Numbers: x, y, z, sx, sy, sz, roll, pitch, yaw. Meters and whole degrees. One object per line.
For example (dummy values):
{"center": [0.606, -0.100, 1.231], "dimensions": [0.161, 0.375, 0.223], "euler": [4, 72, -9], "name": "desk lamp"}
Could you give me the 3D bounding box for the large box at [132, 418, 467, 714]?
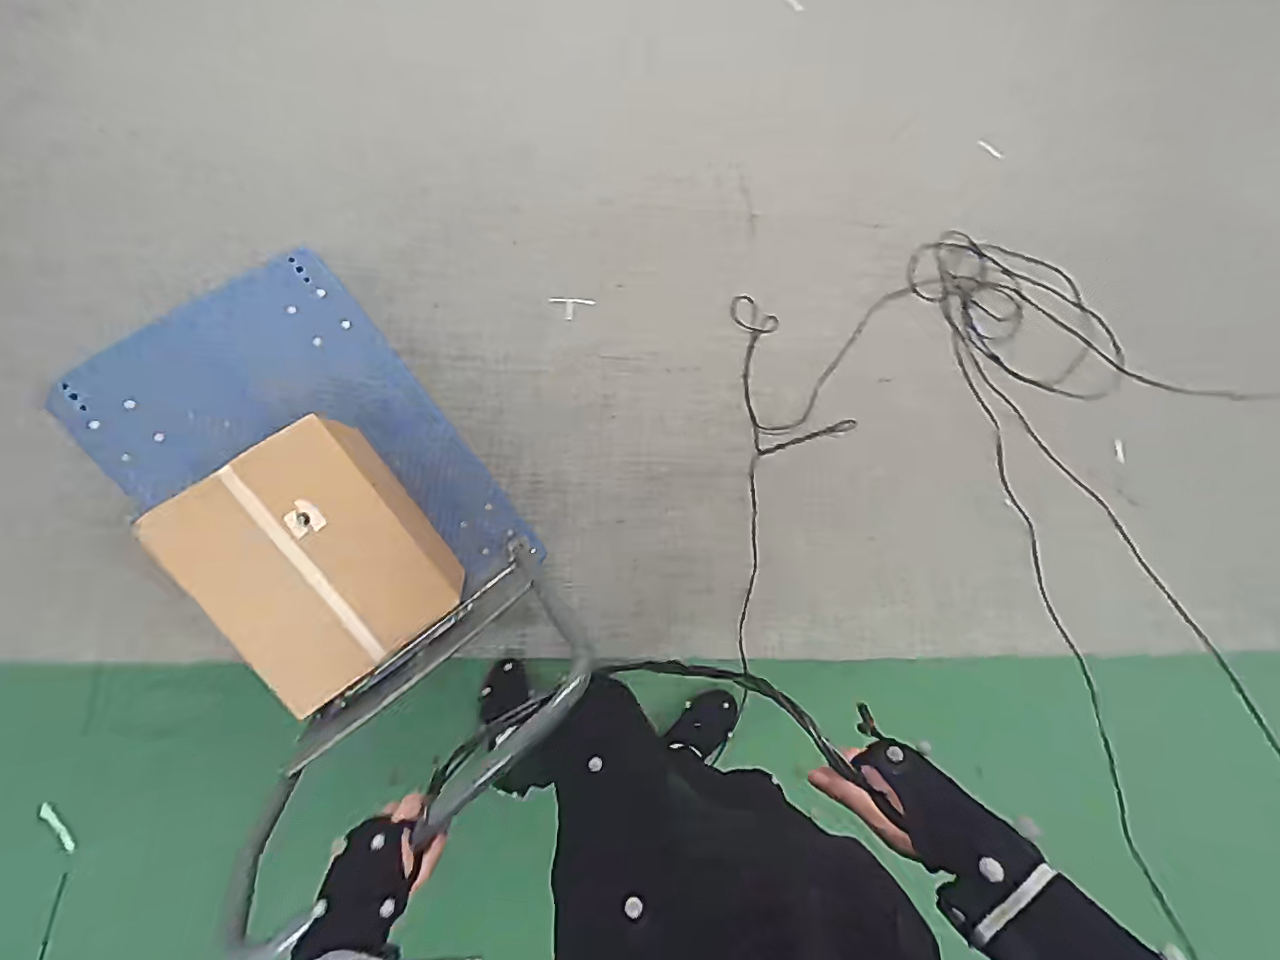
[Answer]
{"center": [-0.586, 0.143, 1.033], "dimensions": [0.320, 0.320, 0.408], "euler": [-37, 99, -13], "name": "large box"}
